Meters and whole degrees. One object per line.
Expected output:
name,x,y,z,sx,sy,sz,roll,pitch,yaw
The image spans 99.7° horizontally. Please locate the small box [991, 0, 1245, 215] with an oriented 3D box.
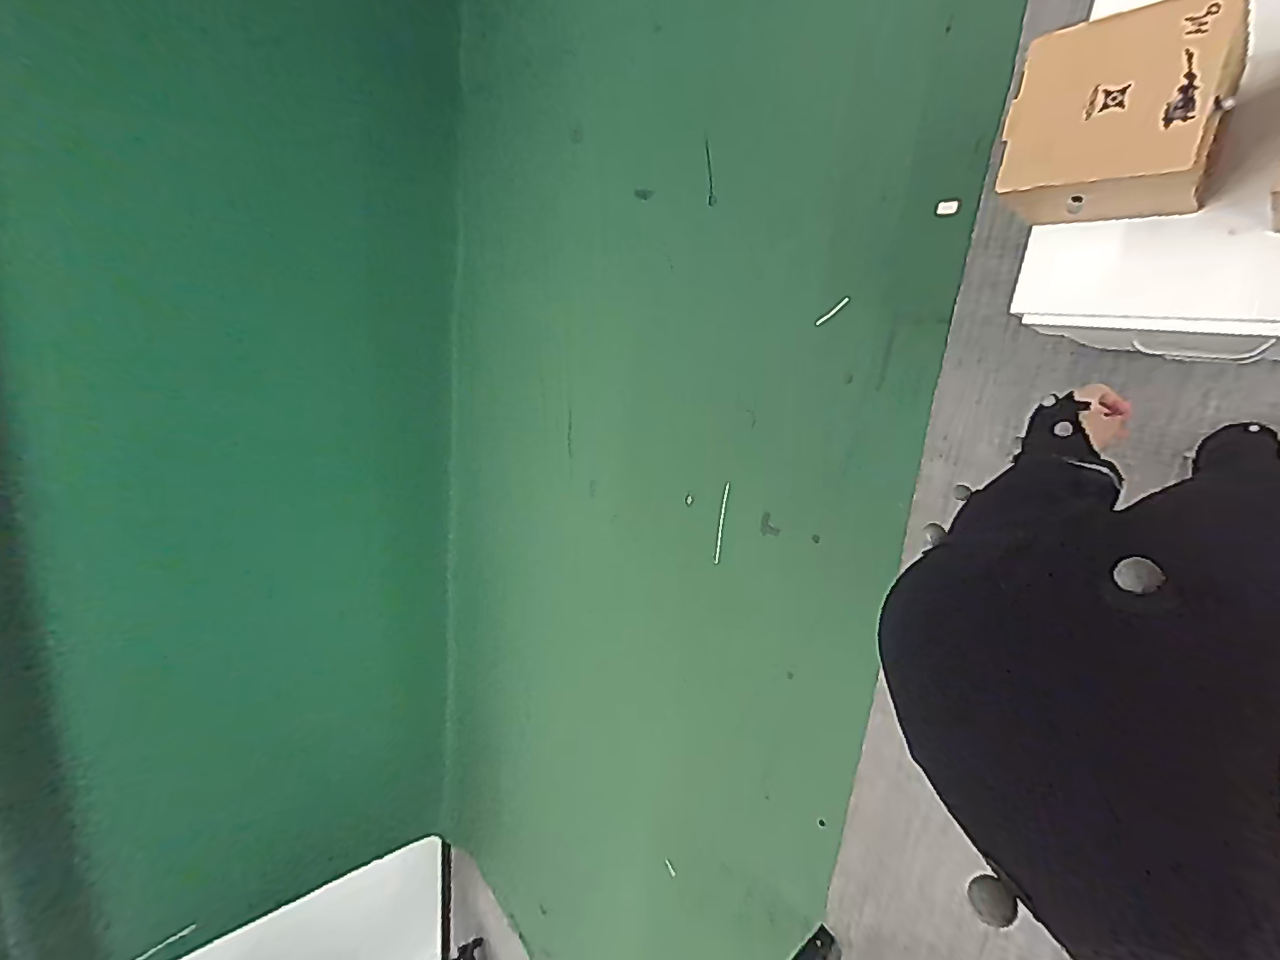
small box,0.552,-0.422,0.631,0.179,0.176,0.168,20,109,45
